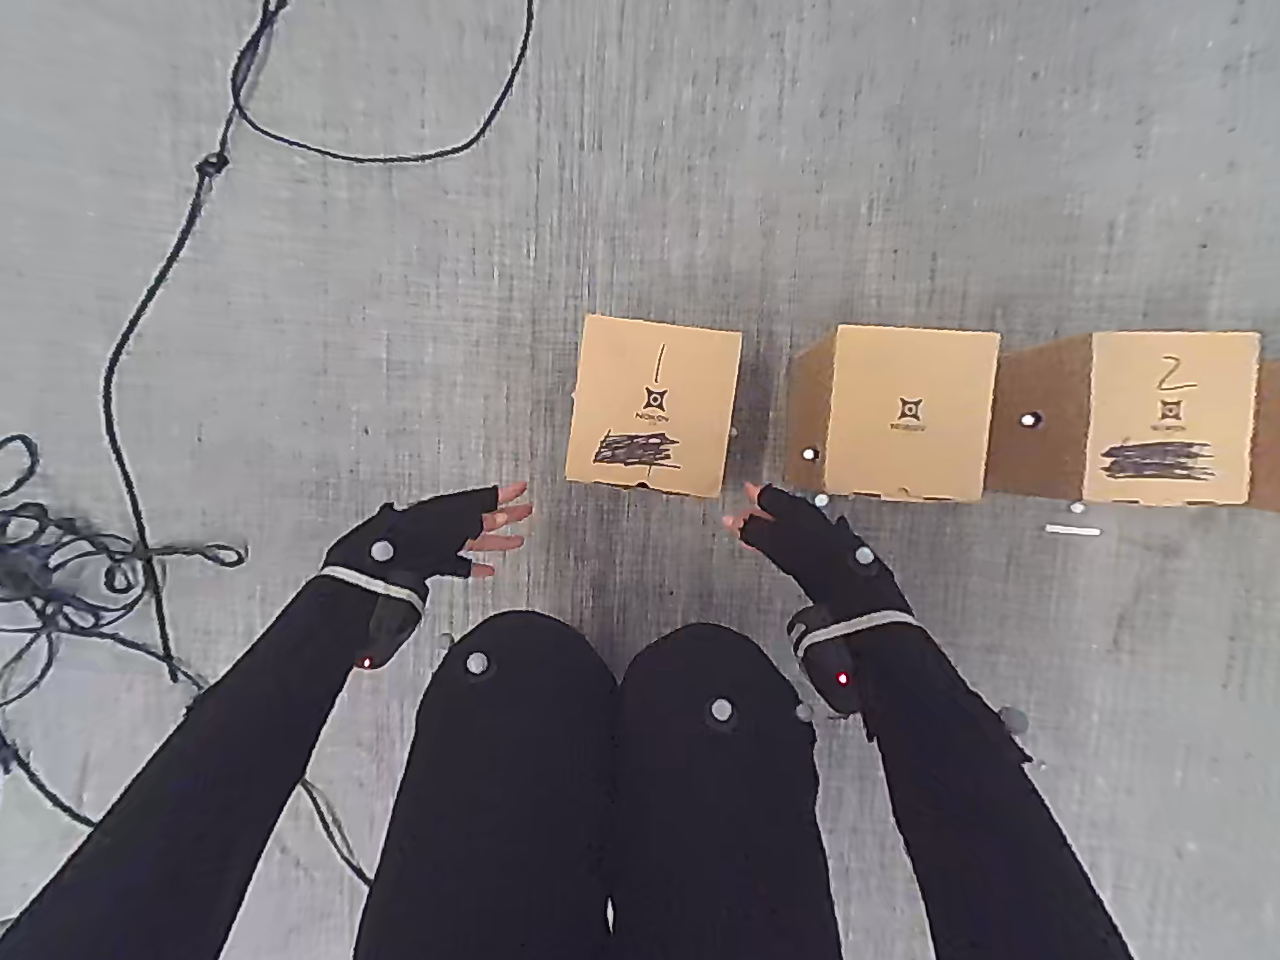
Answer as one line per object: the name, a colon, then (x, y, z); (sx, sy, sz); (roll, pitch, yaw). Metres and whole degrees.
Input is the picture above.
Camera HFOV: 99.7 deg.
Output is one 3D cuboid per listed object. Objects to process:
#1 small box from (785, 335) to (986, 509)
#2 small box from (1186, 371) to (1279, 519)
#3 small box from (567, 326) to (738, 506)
small box: (0.278, -0.065, 0.650); (0.168, 0.176, 0.179); (4, 94, 3)
small box: (0.807, -0.038, 0.634); (0.168, 0.176, 0.179); (3, 94, 2)
small box: (0.016, -0.073, 0.657); (0.168, 0.176, 0.179); (8, 94, 2)
